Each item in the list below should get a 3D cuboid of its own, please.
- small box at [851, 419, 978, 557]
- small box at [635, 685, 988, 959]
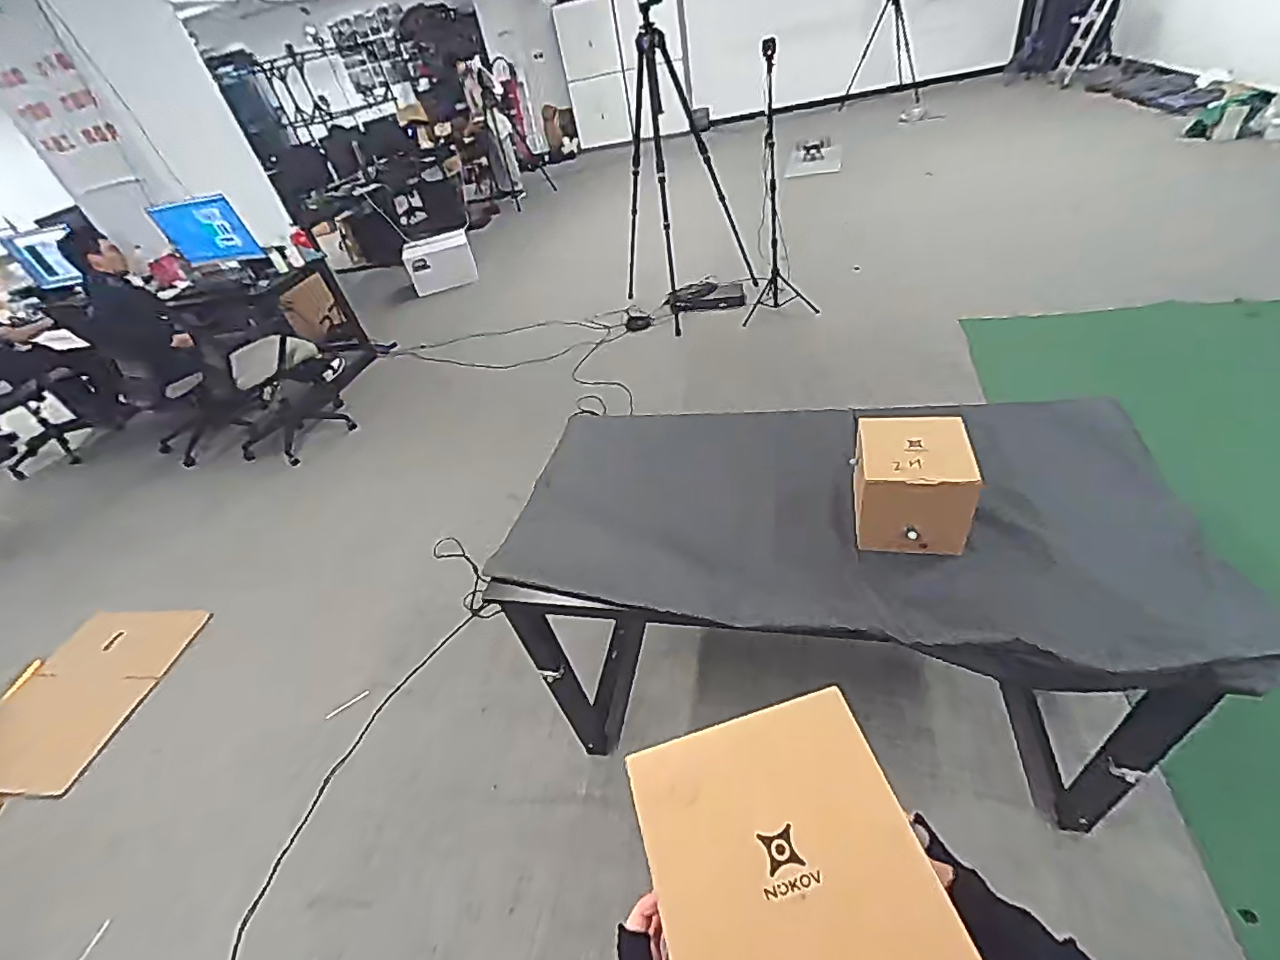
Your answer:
[{"bbox_3d":[0.467,0.010,0.950,0.168,0.176,0.179,1,42,17],"label":"small box"},{"bbox_3d":[0.103,0.286,0.395,0.168,0.176,0.179,-16,47,-4],"label":"small box"}]
